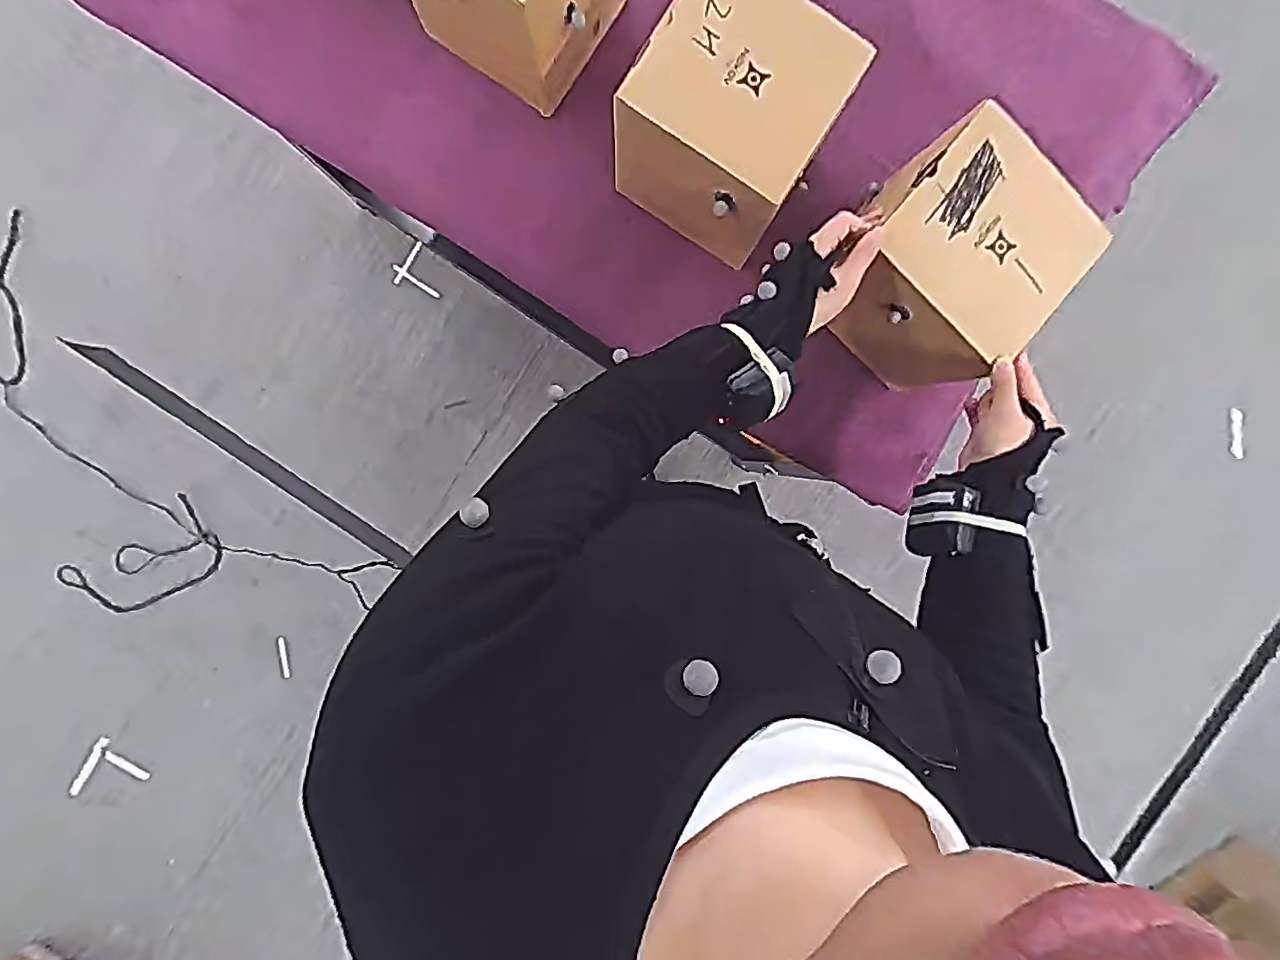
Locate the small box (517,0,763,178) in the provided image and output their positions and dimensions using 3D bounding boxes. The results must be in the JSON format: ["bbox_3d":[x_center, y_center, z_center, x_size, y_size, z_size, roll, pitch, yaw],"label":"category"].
[{"bbox_3d":[0.012,-0.414,0.503,0.179,0.176,0.168,20,97,0],"label":"small box"}]

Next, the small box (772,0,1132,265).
[{"bbox_3d":[0.244,-0.312,0.473,0.179,0.176,0.168,26,97,-11],"label":"small box"}]
